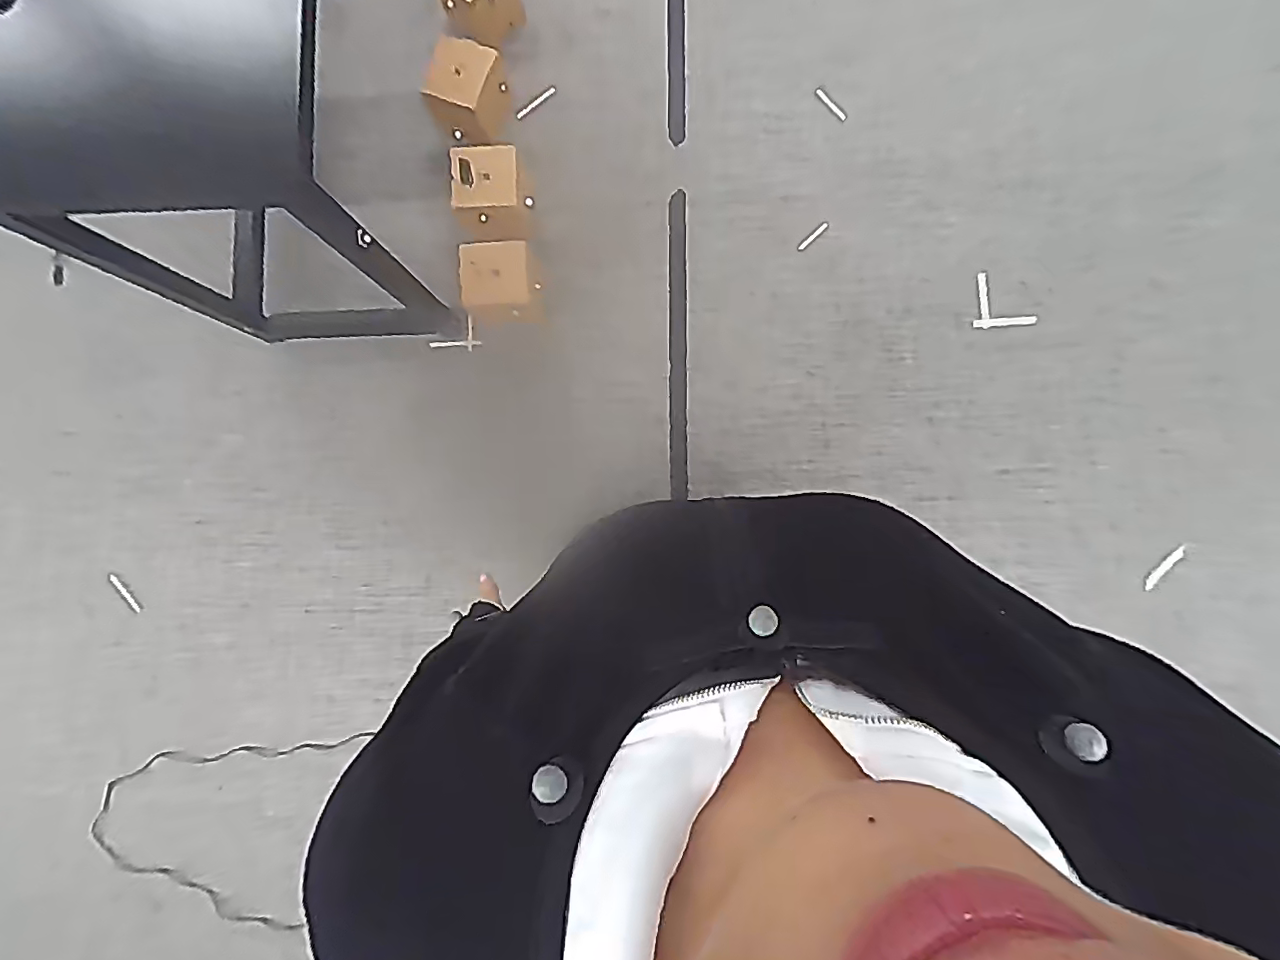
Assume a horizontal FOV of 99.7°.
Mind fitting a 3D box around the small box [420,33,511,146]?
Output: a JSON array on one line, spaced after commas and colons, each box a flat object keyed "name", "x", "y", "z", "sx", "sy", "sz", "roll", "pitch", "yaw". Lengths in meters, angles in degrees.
[{"name": "small box", "x": -0.480, "y": -1.087, "z": 1.519, "sx": 0.168, "sy": 0.176, "sz": 0.179, "roll": 20, "pitch": 89, "yaw": 4}]

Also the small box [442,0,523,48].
[{"name": "small box", "x": -0.462, "y": -1.389, "z": 1.530, "sx": 0.179, "sy": 0.176, "sz": 0.168, "roll": 42, "pitch": 90, "yaw": 3}]

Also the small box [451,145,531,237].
[{"name": "small box", "x": -0.409, "y": -0.794, "z": 1.501, "sx": 0.179, "sy": 0.176, "sz": 0.168, "roll": -2, "pitch": 87, "yaw": 1}]
